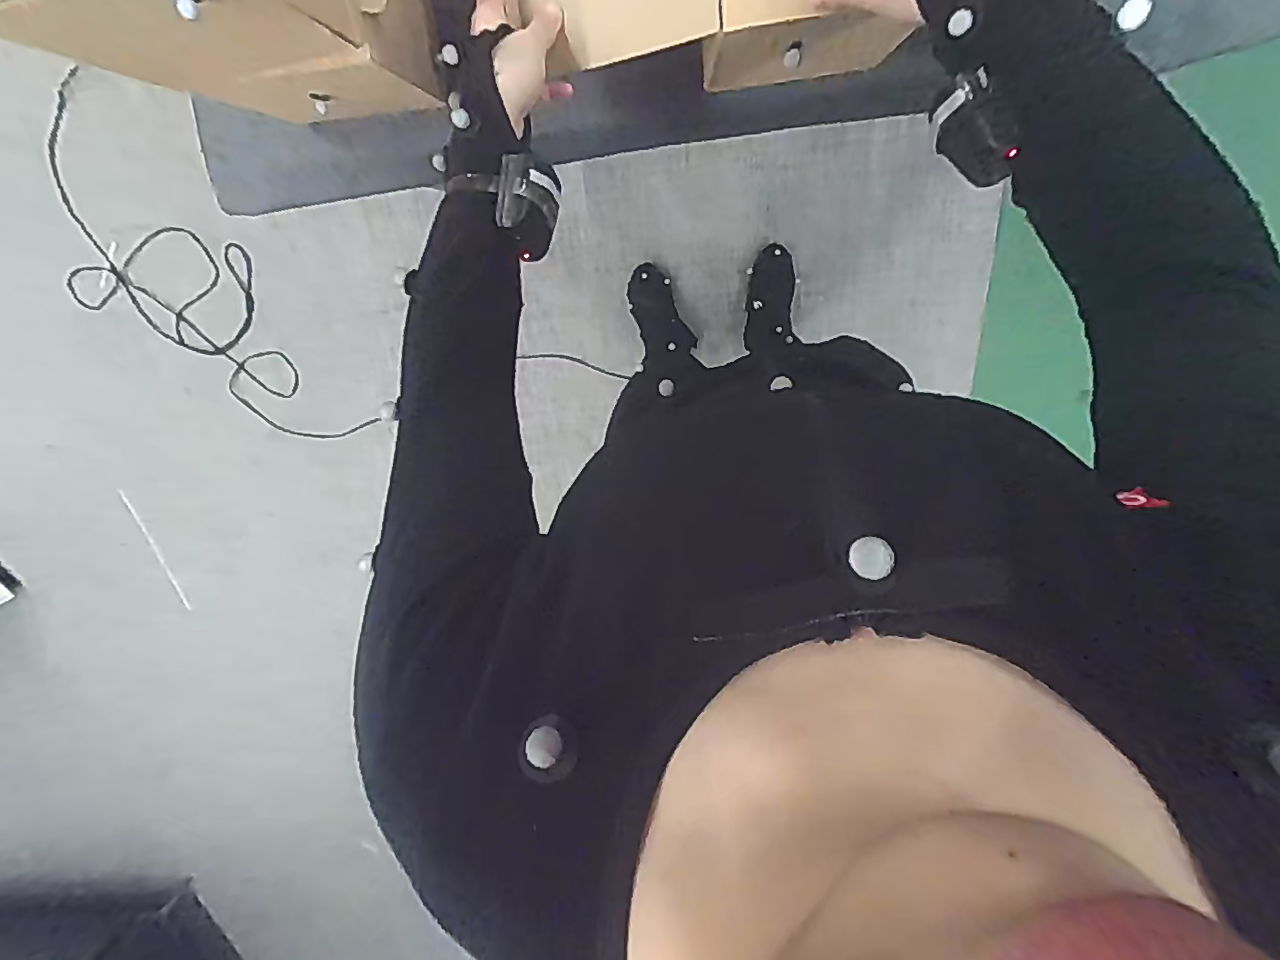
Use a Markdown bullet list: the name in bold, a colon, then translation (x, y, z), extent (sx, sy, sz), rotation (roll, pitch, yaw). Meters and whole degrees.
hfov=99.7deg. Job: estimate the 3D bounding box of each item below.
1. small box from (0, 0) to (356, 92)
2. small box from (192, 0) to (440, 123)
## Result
- **small box**: translation (-0.328, -0.378, 0.347), extent (0.179, 0.176, 0.168), rotation (-8, 113, 7)
- **small box**: translation (-0.302, -0.443, 0.494), extent (0.179, 0.176, 0.168), rotation (-3, 114, 6)
